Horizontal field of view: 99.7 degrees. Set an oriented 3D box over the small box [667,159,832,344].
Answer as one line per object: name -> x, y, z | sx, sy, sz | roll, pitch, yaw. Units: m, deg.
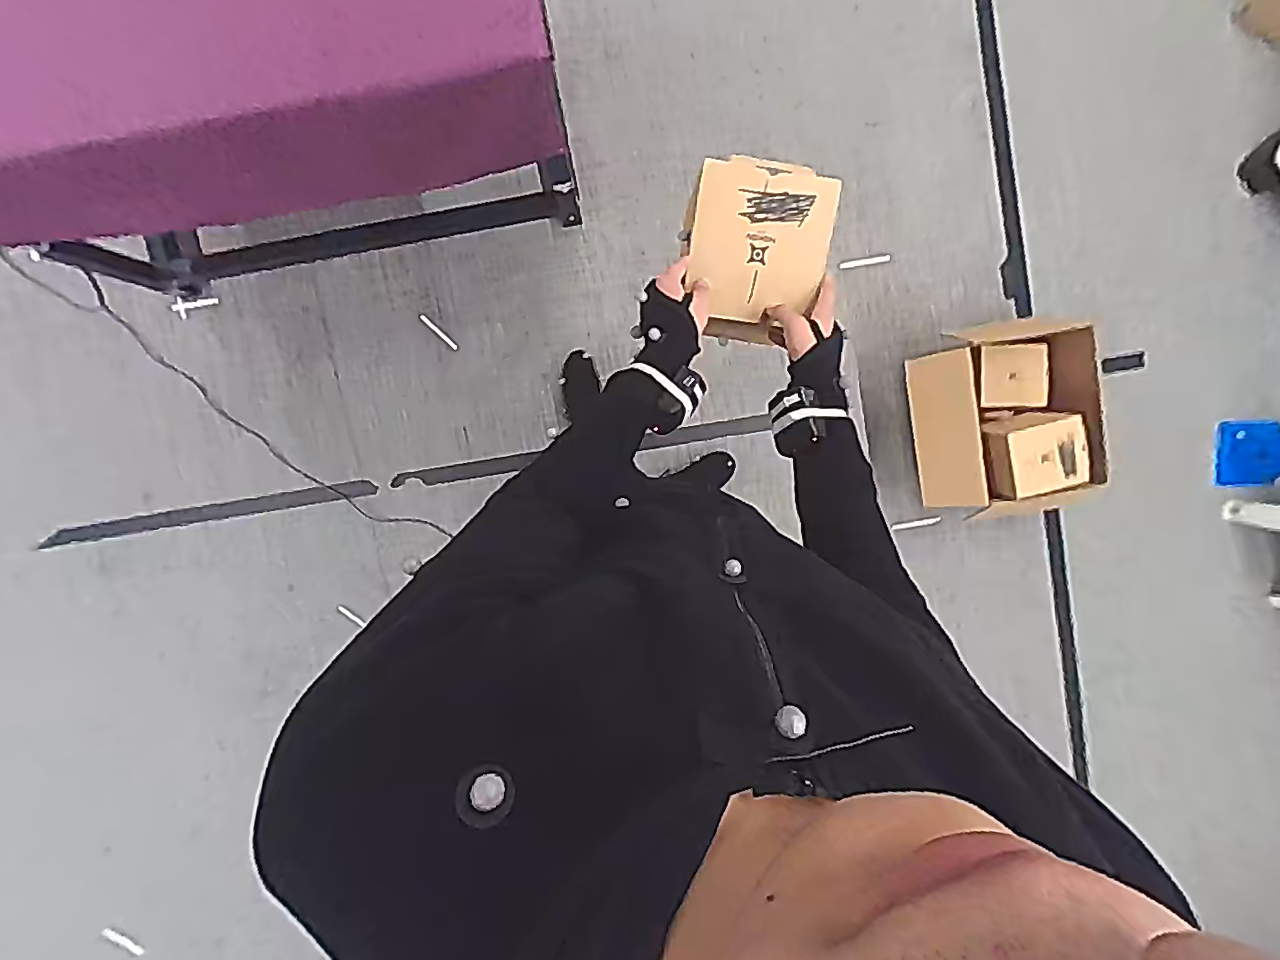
small box -> 0.130, -0.285, 0.712 | 0.168, 0.176, 0.179 | 7, 99, -2
